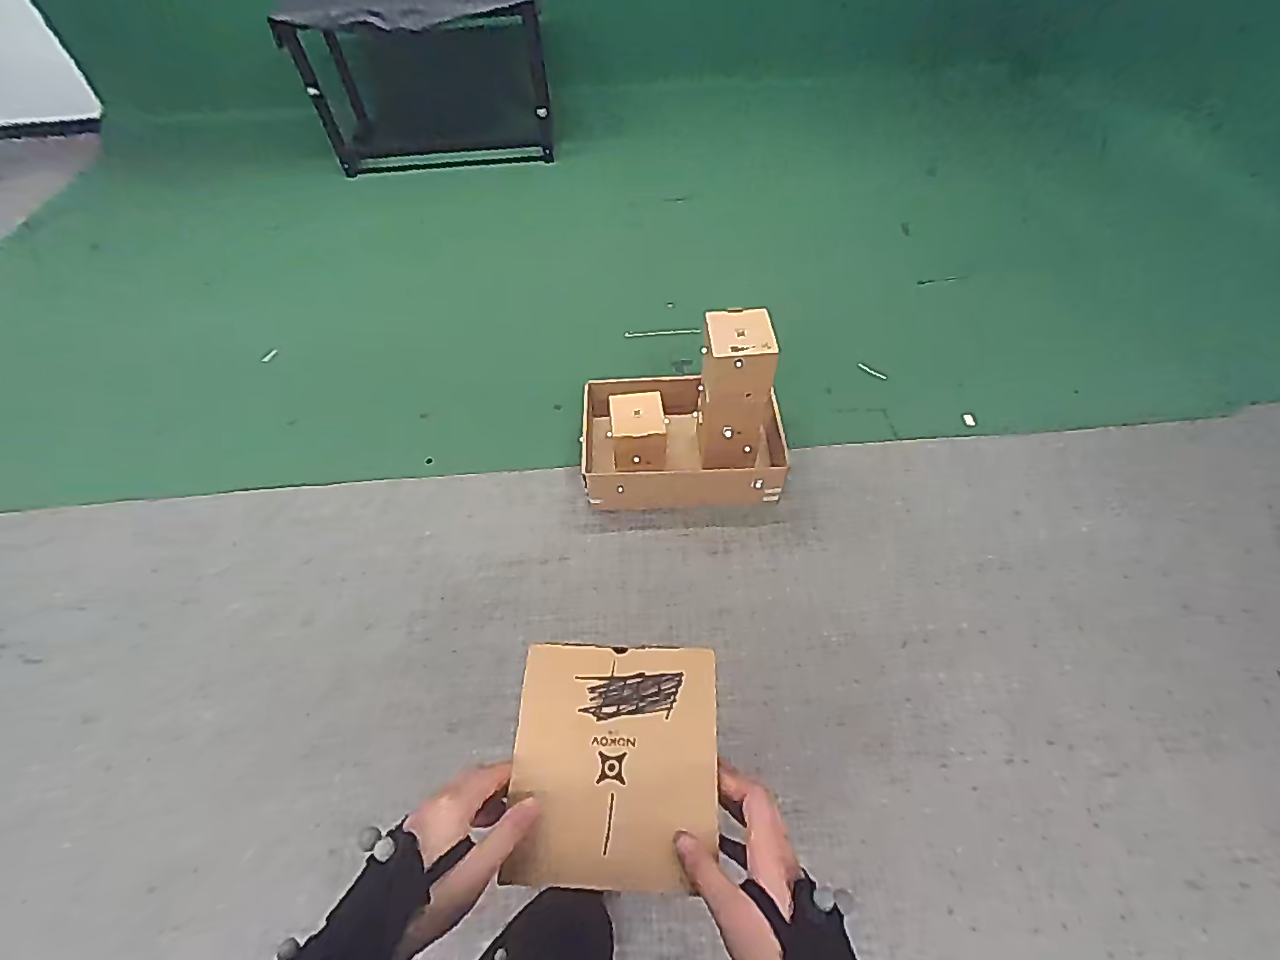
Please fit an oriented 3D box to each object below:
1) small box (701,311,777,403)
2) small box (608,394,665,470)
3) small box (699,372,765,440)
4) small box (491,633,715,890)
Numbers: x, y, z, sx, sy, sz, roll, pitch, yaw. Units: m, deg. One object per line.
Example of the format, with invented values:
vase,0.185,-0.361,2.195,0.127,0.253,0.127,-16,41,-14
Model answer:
small box,0.257,-0.328,1.449,0.168,0.176,0.179,-4,54,0
small box,-0.014,-0.154,1.736,0.168,0.176,0.179,-5,55,-3
small box,0.263,-0.235,1.584,0.168,0.176,0.179,-2,56,2
small box,-0.018,0.254,0.497,0.168,0.176,0.179,1,58,6
